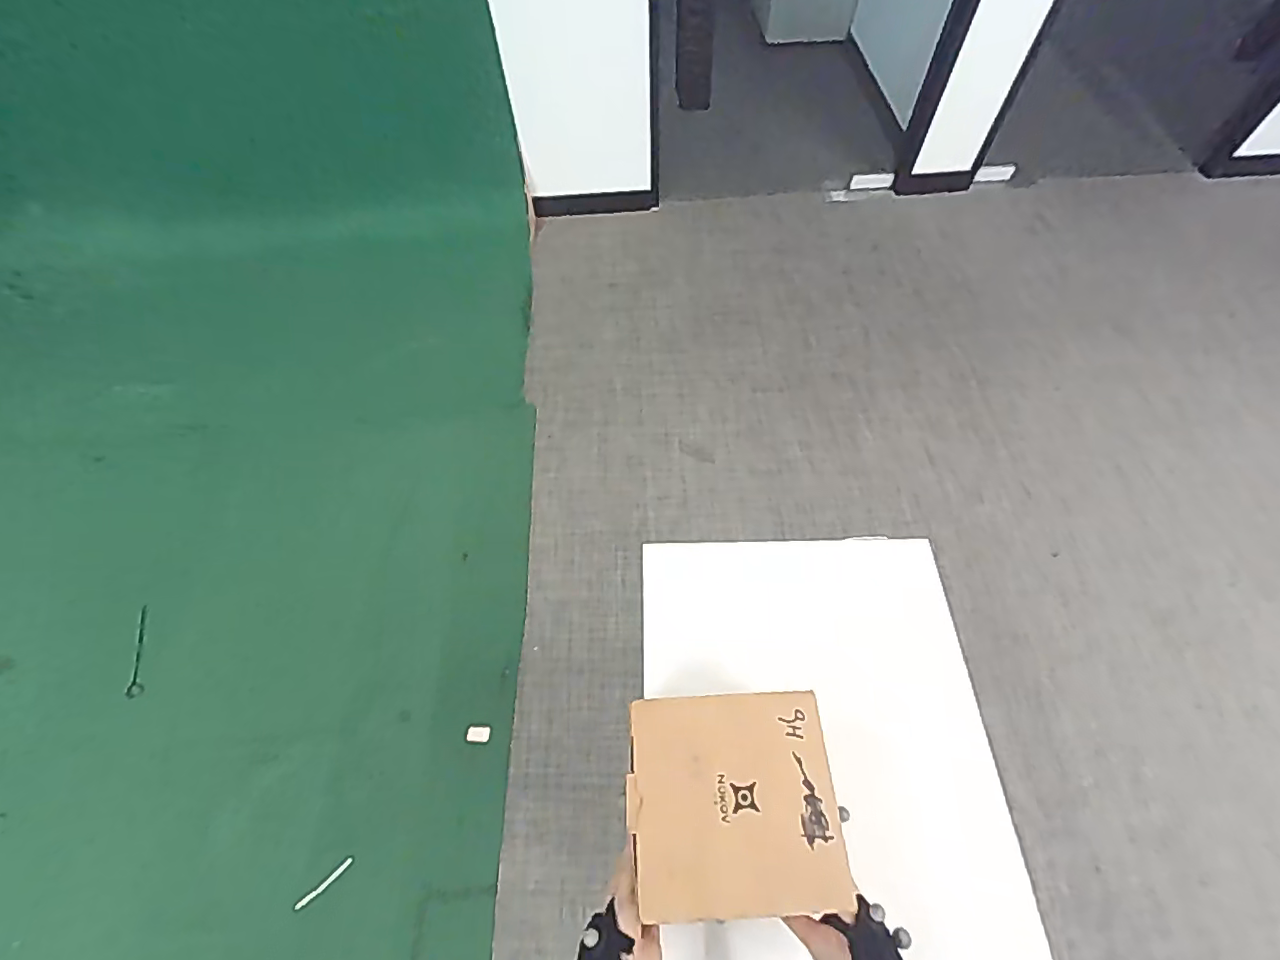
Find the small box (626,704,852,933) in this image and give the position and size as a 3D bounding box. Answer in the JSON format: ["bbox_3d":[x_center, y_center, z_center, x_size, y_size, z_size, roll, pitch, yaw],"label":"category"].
[{"bbox_3d":[0.079,0.322,0.528,0.179,0.176,0.168,-2,59,0],"label":"small box"}]
